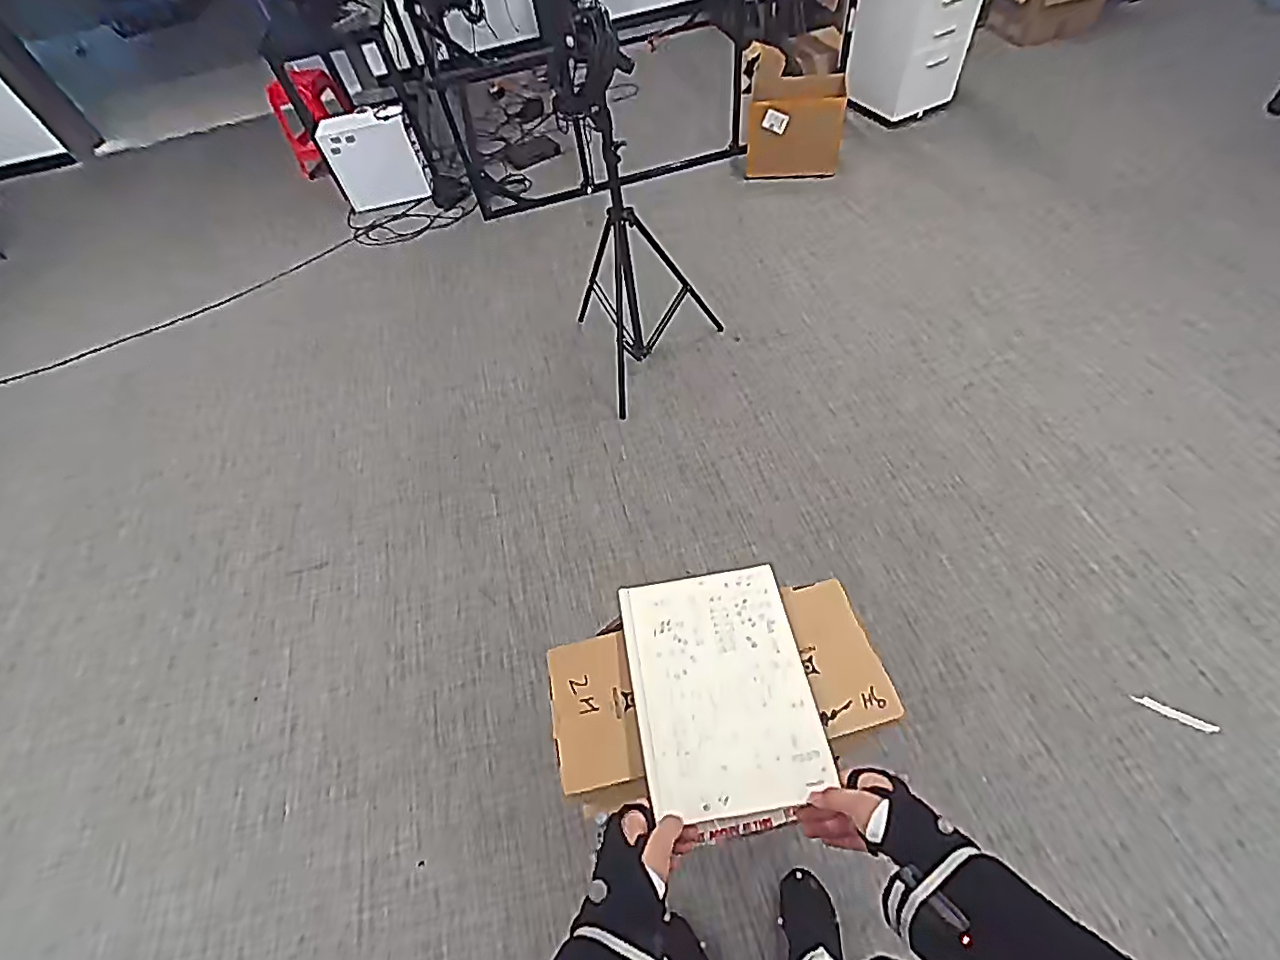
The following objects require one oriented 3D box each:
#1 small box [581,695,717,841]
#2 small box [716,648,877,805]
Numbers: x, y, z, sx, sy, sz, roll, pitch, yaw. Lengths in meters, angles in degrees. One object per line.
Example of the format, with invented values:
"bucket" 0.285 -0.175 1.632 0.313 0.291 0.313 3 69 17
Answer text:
"small box" 0.016 0.439 0.823 0.179 0.176 0.168 -11 56 2
"small box" 0.225 0.384 0.834 0.179 0.176 0.168 -16 56 -5
